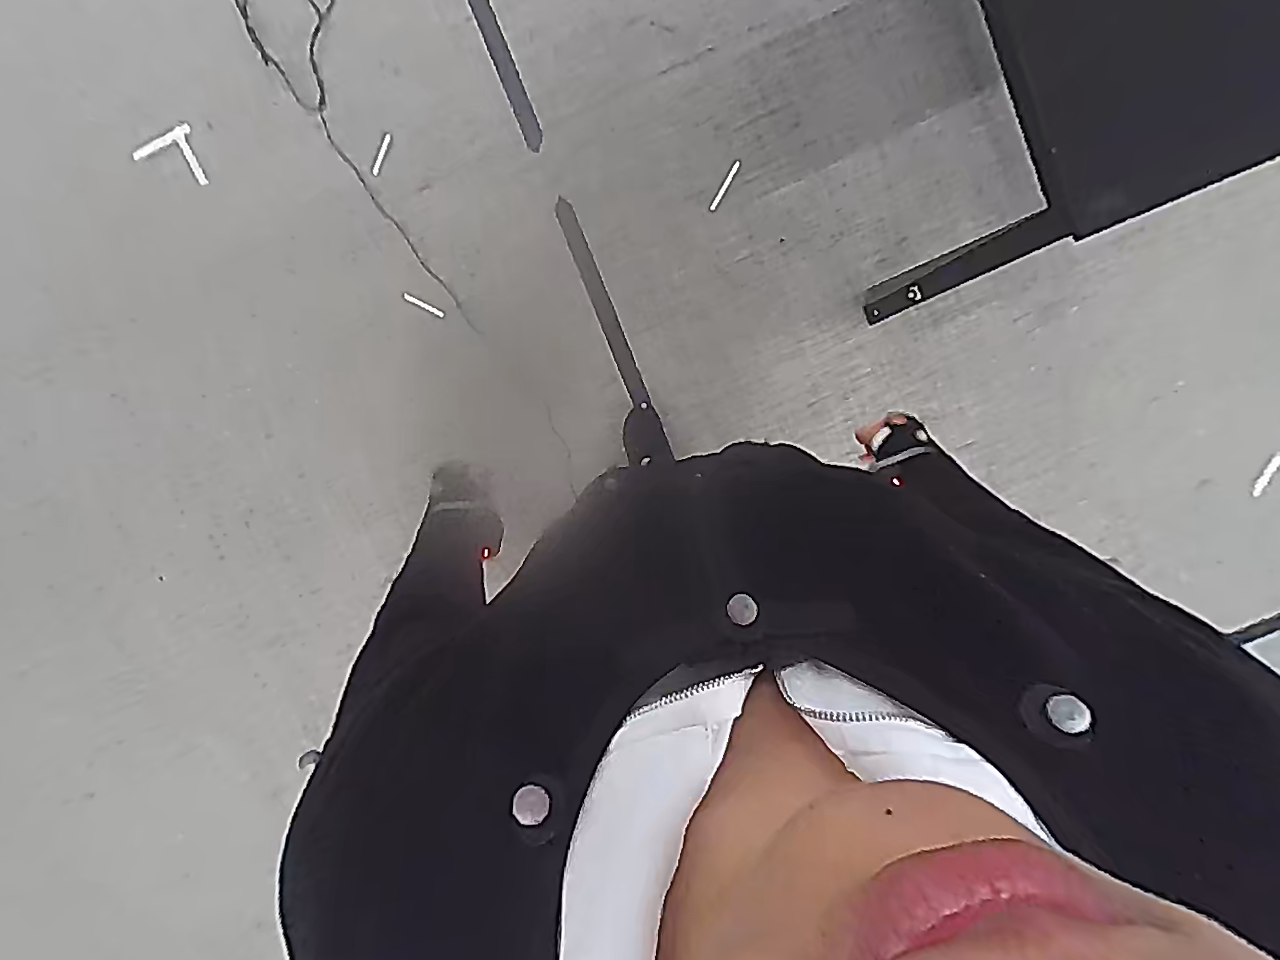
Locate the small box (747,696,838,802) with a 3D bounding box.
[{"bbox_3d":[0.406,0.727,1.479,0.179,0.176,0.168,-24,95,3],"label":"small box"}]
